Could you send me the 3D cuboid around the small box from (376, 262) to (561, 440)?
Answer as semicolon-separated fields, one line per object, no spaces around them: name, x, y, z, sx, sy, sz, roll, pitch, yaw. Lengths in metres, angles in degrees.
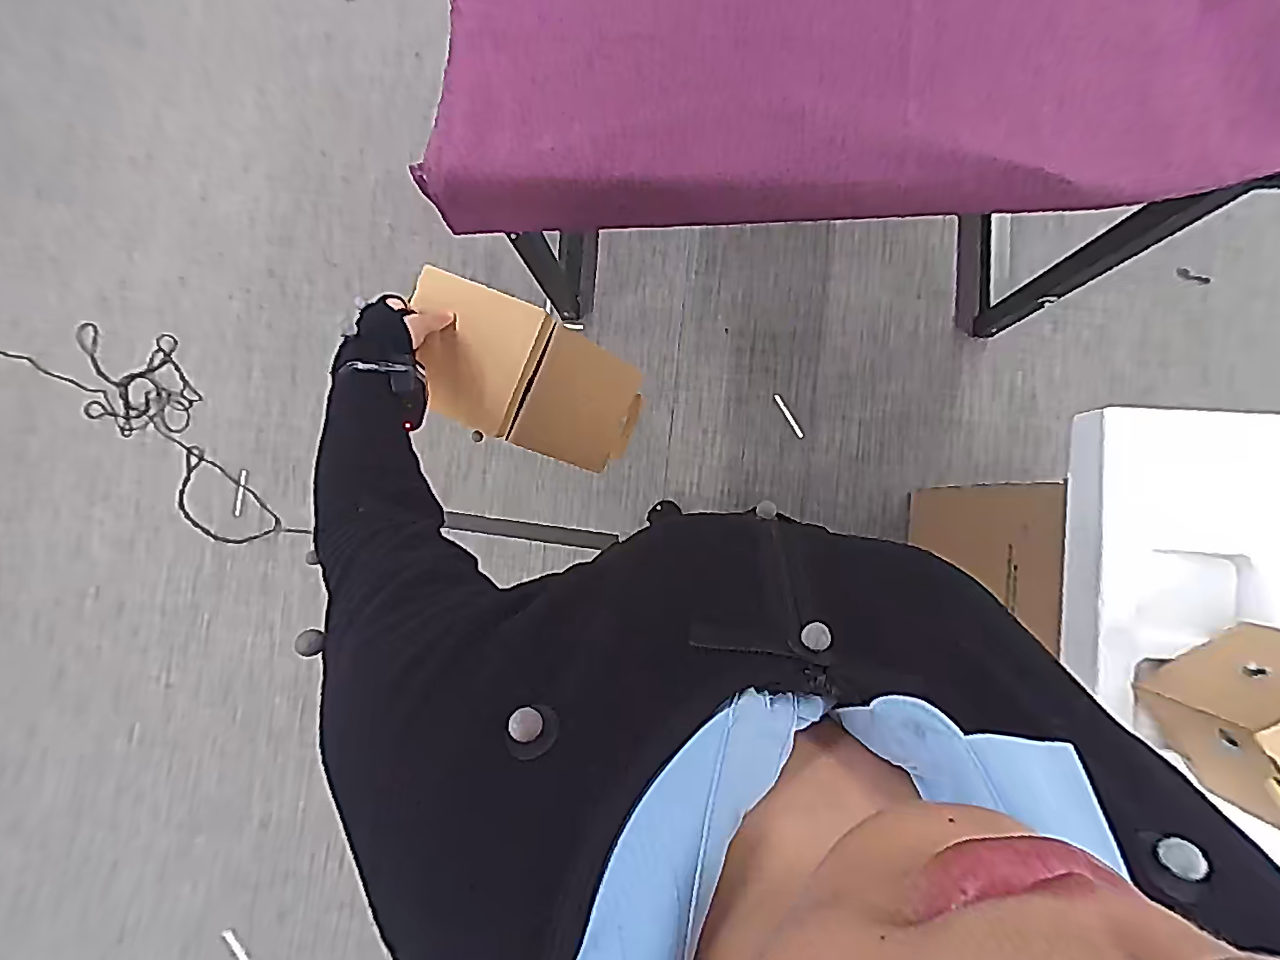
small box;-0.219;-0.164;0.745;0.179;0.176;0.168;23;91;-5
